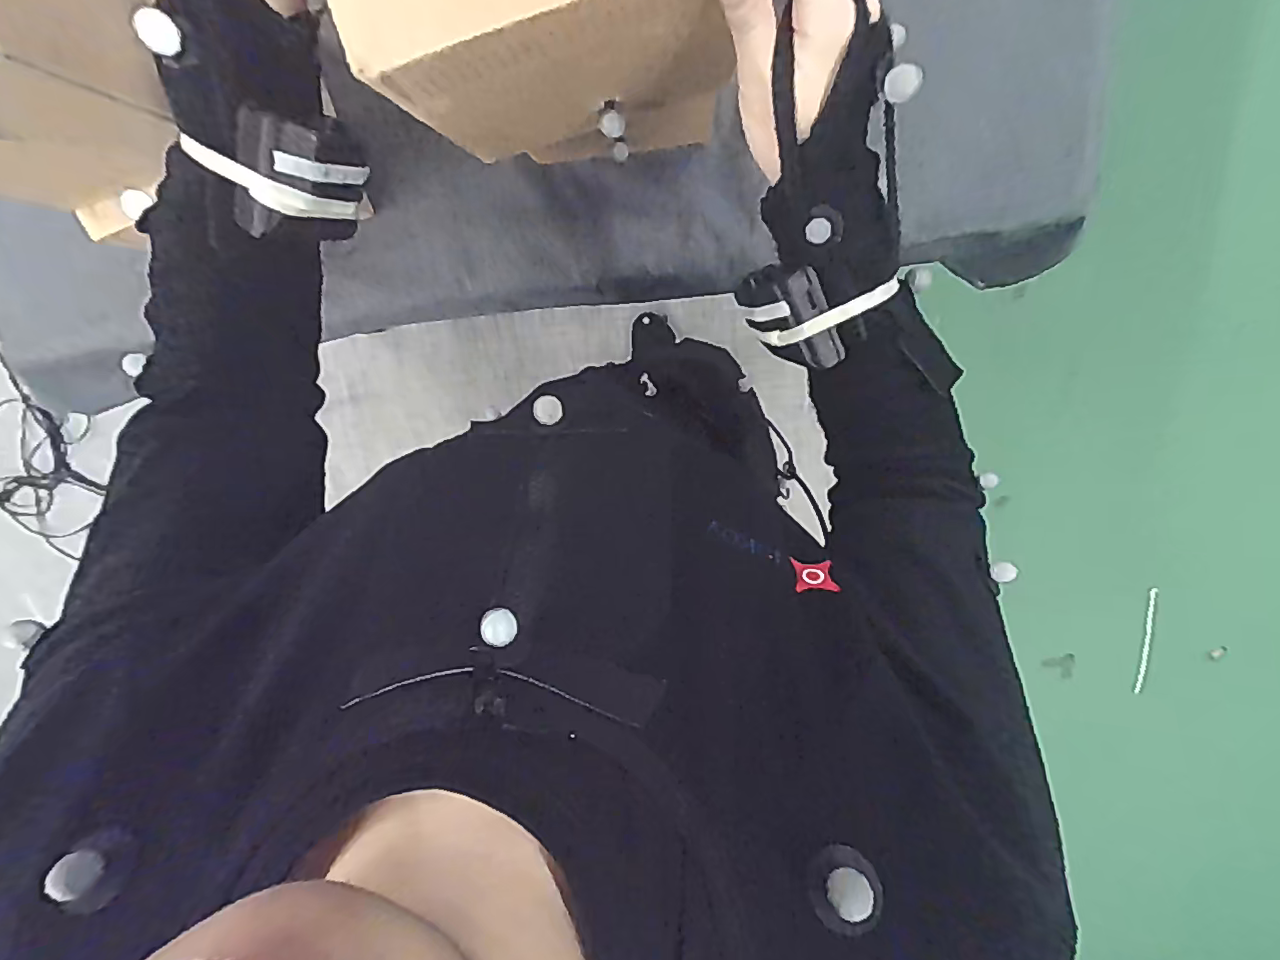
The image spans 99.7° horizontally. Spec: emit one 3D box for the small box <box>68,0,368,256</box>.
[{"bbox_3d":[-0.387,-0.319,0.483,0.168,0.176,0.179,-15,105,9],"label":"small box"}]

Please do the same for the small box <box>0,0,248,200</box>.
[{"bbox_3d":[-0.397,-0.286,0.323,0.179,0.176,0.168,-10,106,7],"label":"small box"}]

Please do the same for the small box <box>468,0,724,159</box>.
[{"bbox_3d":[-0.031,-0.381,0.438,0.179,0.176,0.168,-5,106,5],"label":"small box"}]
